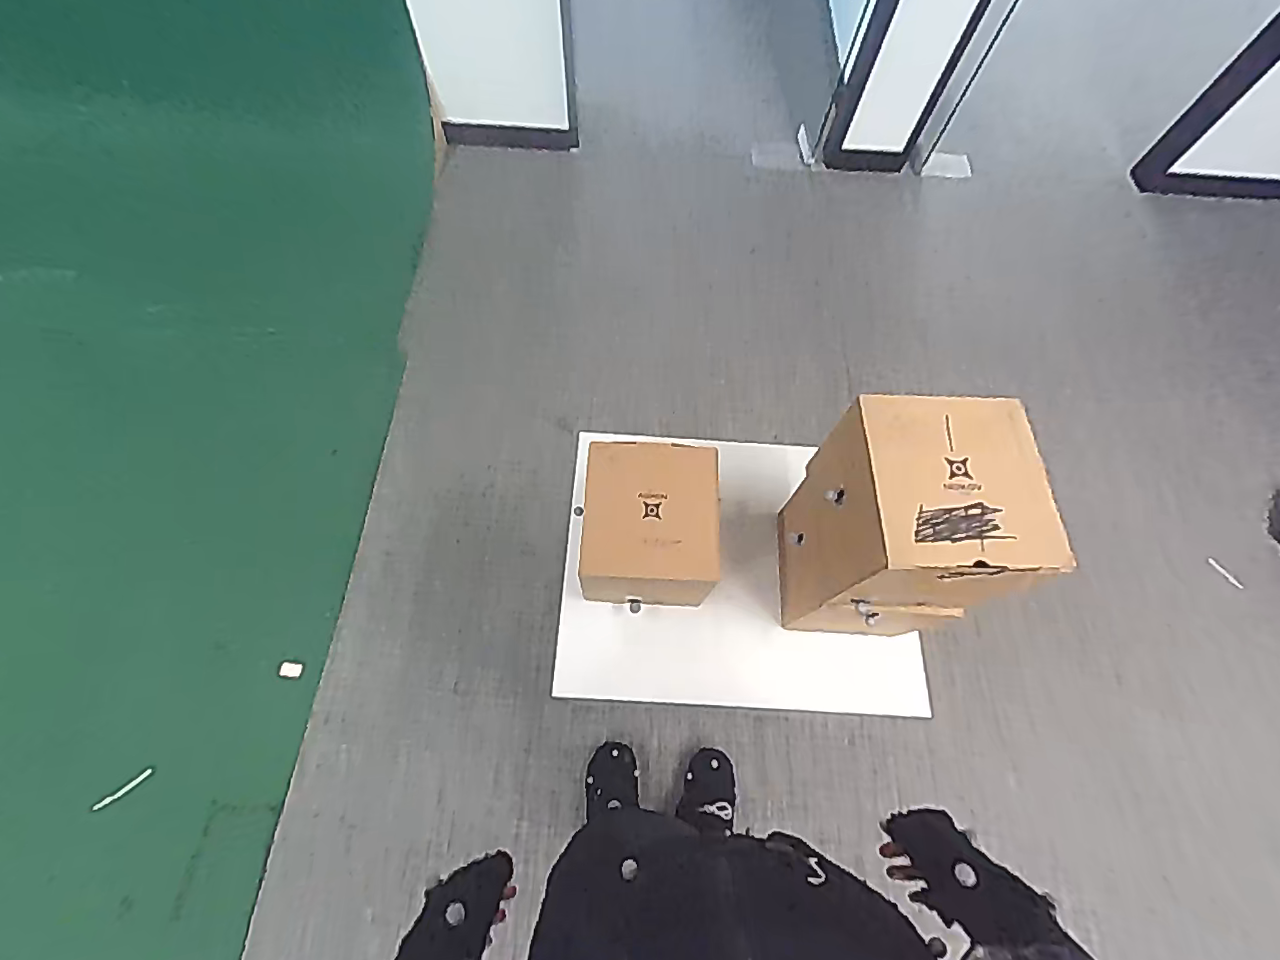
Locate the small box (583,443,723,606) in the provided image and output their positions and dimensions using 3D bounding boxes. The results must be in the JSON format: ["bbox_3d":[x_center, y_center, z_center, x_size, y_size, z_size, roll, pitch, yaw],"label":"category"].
[{"bbox_3d":[0.015,0.066,0.727,0.168,0.176,0.179,1,68,-1],"label":"small box"}]

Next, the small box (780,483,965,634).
[{"bbox_3d":[0.290,0.098,0.719,0.168,0.176,0.179,3,66,0],"label":"small box"}]

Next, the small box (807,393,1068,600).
[{"bbox_3d":[0.288,0.027,0.571,0.168,0.176,0.179,1,66,-1],"label":"small box"}]
